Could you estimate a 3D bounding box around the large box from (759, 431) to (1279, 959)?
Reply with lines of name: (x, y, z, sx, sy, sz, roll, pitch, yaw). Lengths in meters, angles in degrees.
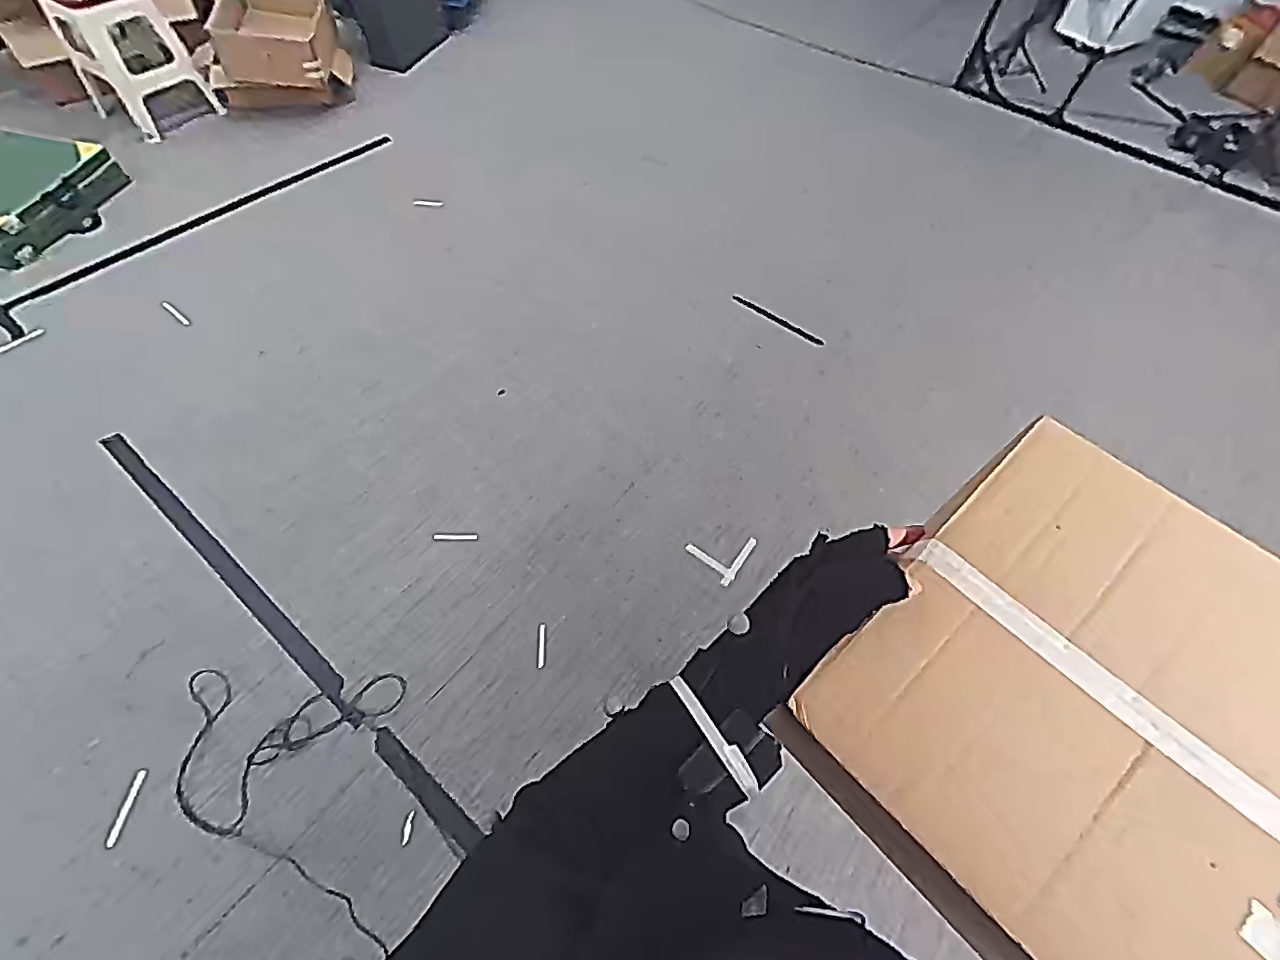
large box: (0.366, 0.238, 0.478, 0.320, 0.320, 0.408, -43, 68, -11)
